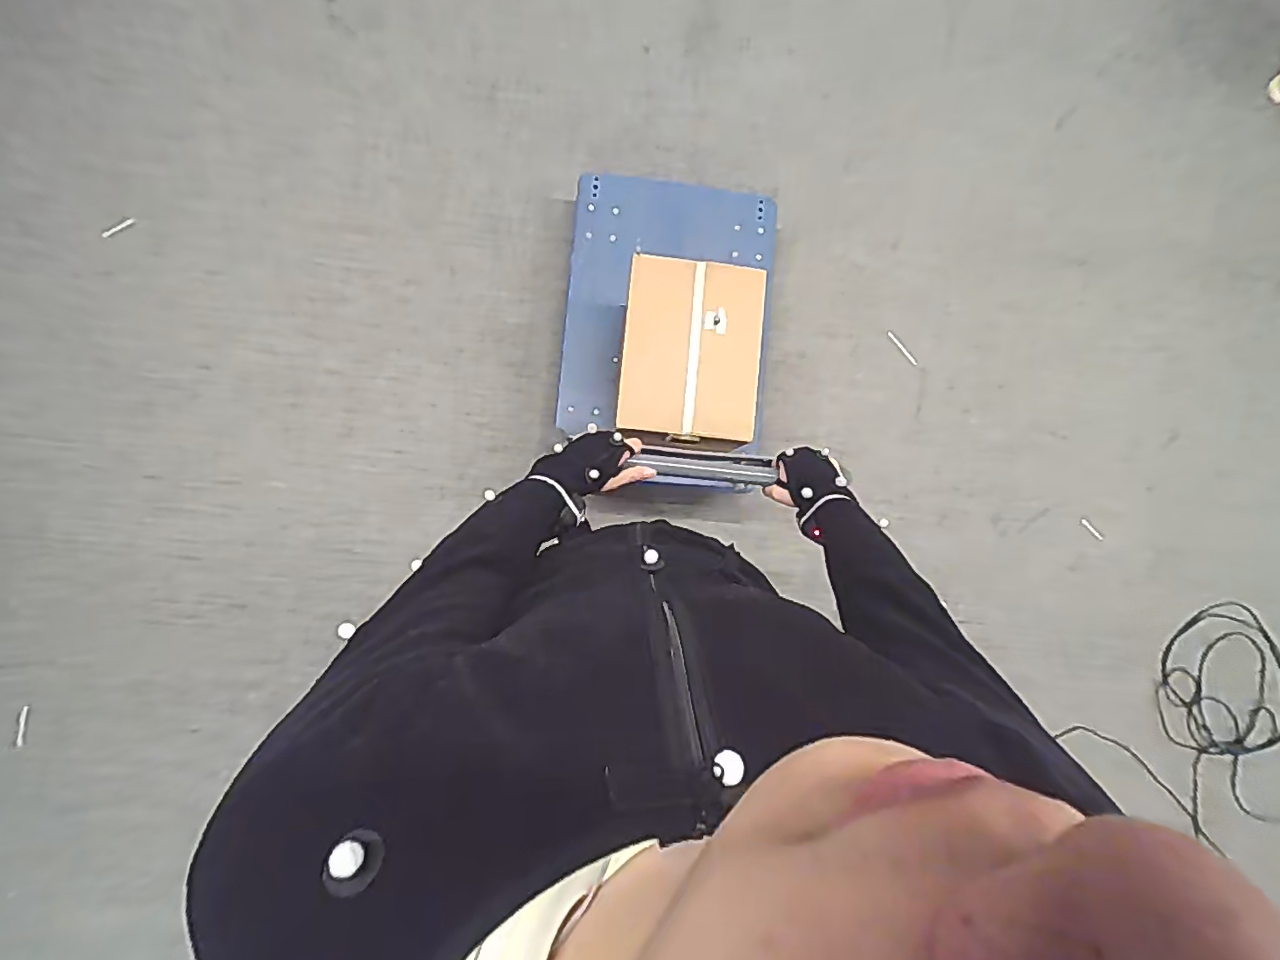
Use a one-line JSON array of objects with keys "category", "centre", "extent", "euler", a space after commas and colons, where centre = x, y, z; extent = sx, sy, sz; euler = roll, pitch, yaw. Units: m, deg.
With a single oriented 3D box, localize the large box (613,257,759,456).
[{"category": "large box", "centre": [0.099, -0.284, 1.365], "extent": [0.320, 0.320, 0.408], "euler": [5, 85, -5]}]
